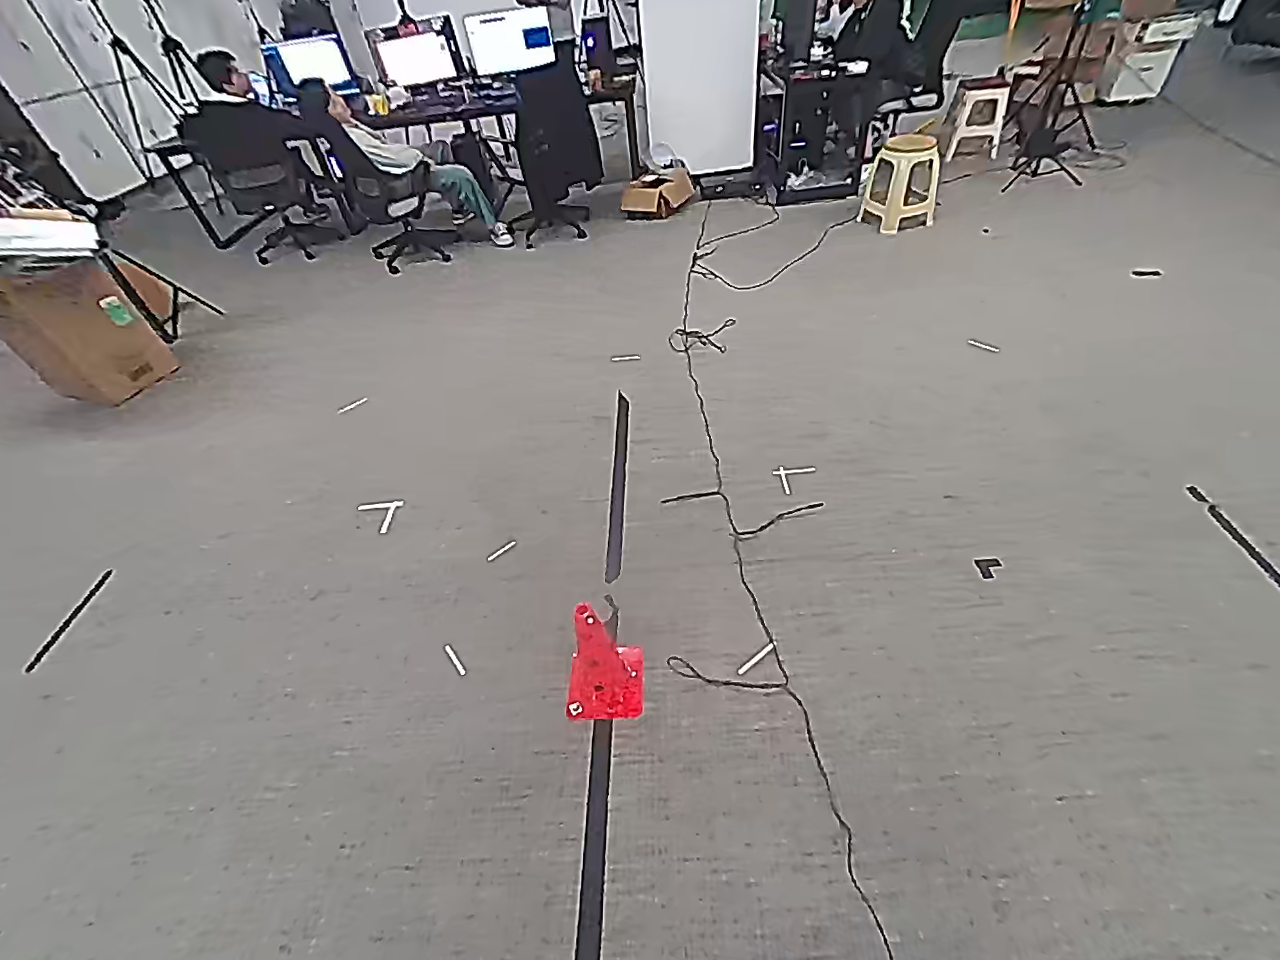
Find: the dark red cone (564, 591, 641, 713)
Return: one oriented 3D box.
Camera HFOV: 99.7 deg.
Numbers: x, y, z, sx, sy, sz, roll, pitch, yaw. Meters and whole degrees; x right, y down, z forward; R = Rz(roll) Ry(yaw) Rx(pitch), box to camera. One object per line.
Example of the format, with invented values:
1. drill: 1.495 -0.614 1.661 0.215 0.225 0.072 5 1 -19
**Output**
1. dark red cone: -0.111 0.404 1.326 0.201 0.394 0.202 -4 43 3
